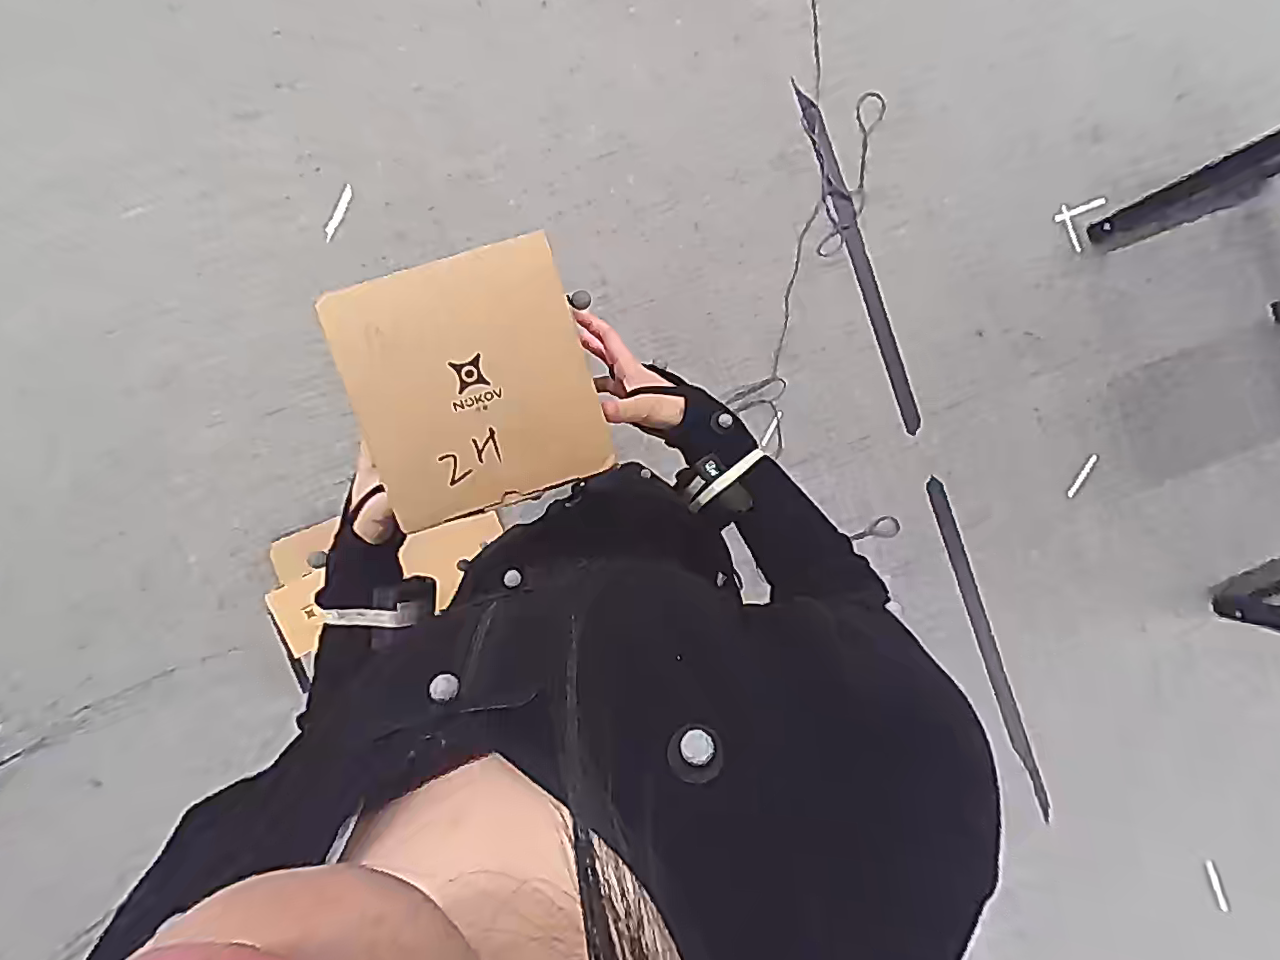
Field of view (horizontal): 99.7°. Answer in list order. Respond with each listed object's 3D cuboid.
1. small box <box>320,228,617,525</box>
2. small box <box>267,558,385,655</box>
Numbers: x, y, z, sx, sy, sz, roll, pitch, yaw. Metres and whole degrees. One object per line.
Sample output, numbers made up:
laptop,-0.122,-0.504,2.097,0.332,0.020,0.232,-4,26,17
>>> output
small box,-0.123,-0.078,0.457,0.168,0.176,0.179,-16,97,-2
small box,-0.797,0.313,1.389,0.168,0.176,0.179,-26,92,0
